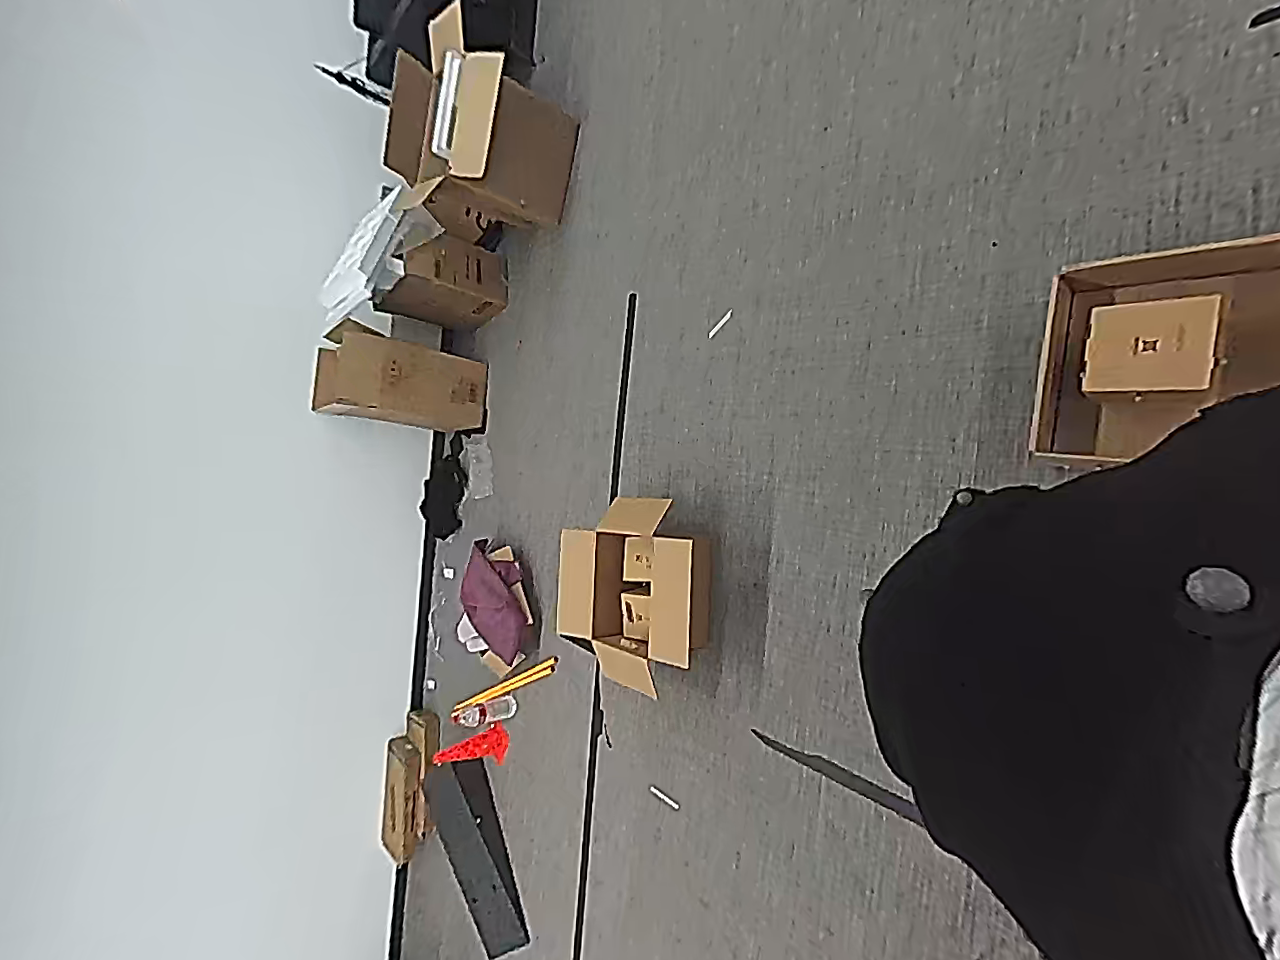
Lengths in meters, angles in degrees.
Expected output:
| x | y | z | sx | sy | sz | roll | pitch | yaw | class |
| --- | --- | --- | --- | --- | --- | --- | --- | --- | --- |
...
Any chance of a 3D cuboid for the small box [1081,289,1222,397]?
| x | y | z | sx | sy | sz | roll | pitch | yaw | class |
| --- | --- | --- | --- | --- | --- | --- | --- | --- | --- |
| 0.984 | -0.252 | 1.041 | 0.179 | 0.176 | 0.168 | 8 | 95 | 46 | small box |
